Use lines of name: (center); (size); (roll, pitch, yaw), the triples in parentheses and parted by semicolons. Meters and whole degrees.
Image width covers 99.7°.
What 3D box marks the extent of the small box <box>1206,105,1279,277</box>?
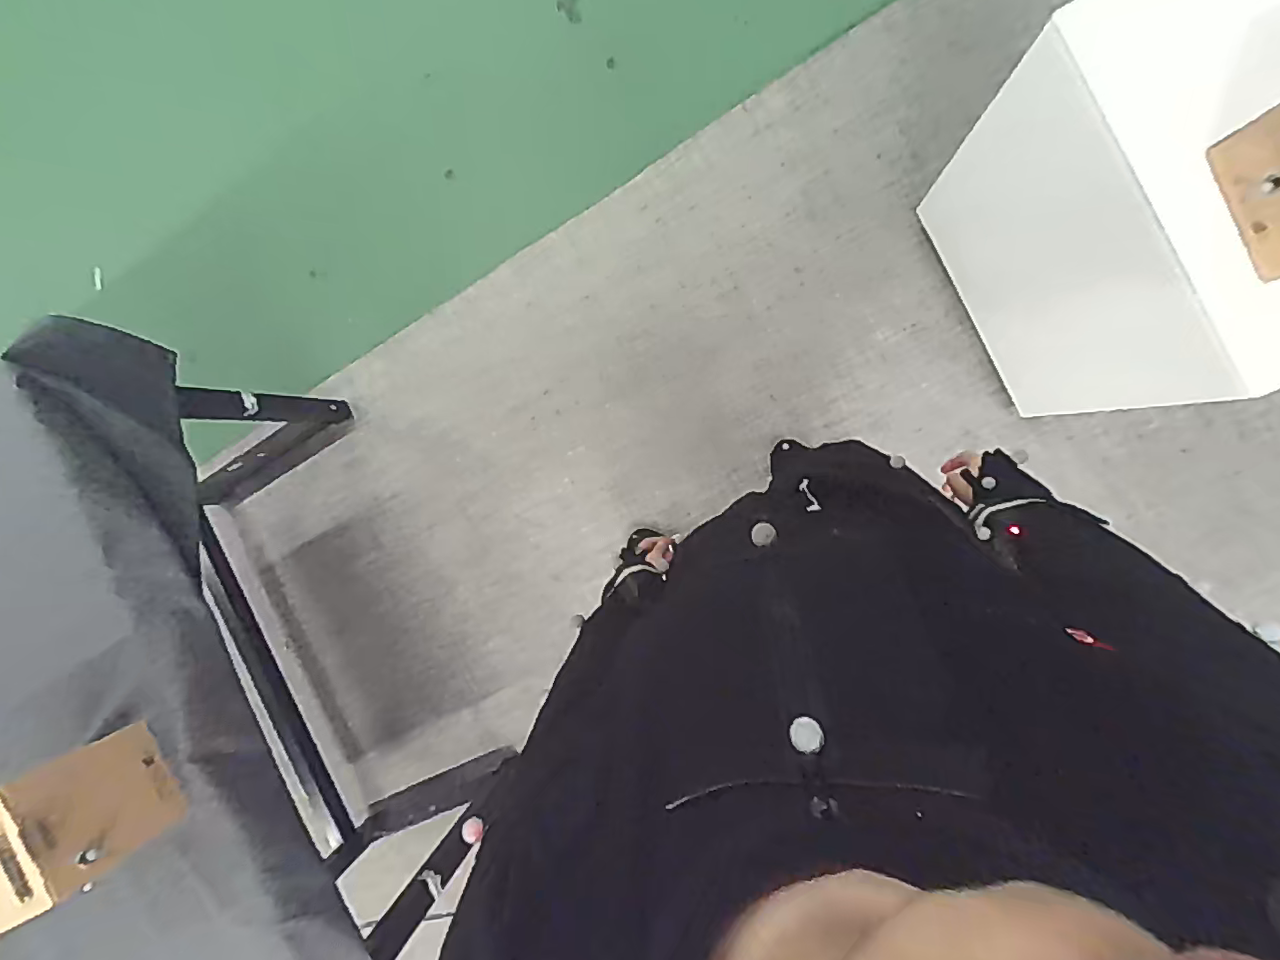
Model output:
small box: (0.733, -0.327, 0.522); (0.179, 0.176, 0.168); (-23, 89, 12)
